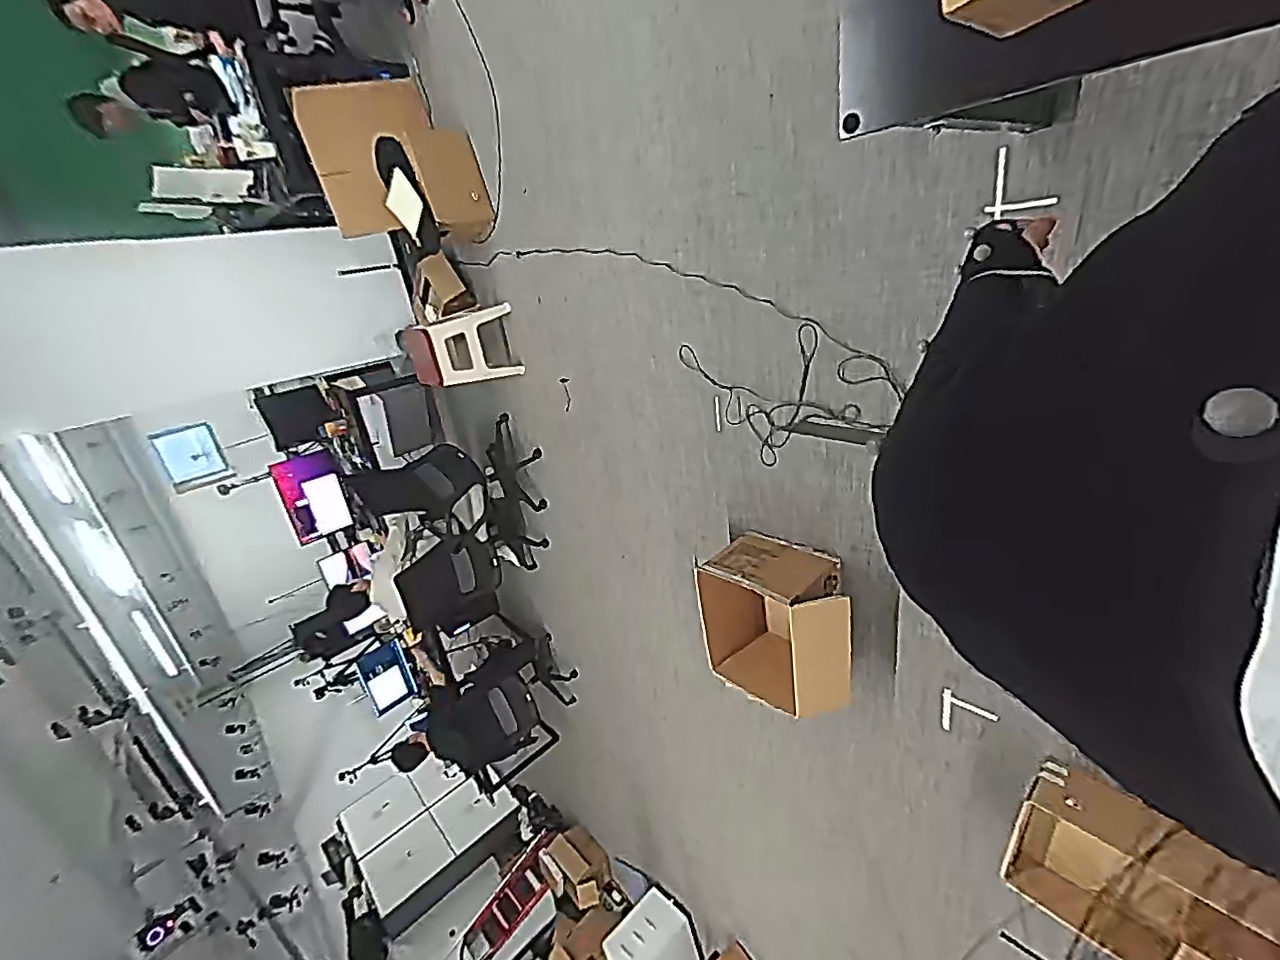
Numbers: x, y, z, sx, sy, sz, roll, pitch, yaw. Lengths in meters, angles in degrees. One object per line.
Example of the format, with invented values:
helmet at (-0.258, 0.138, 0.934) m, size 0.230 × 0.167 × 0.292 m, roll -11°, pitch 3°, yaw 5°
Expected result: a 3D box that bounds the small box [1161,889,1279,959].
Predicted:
small box at (1.436, 1.175, 1.332) m, size 0.179 × 0.176 × 0.168 m, roll 23°, pitch 125°, yaw 44°
